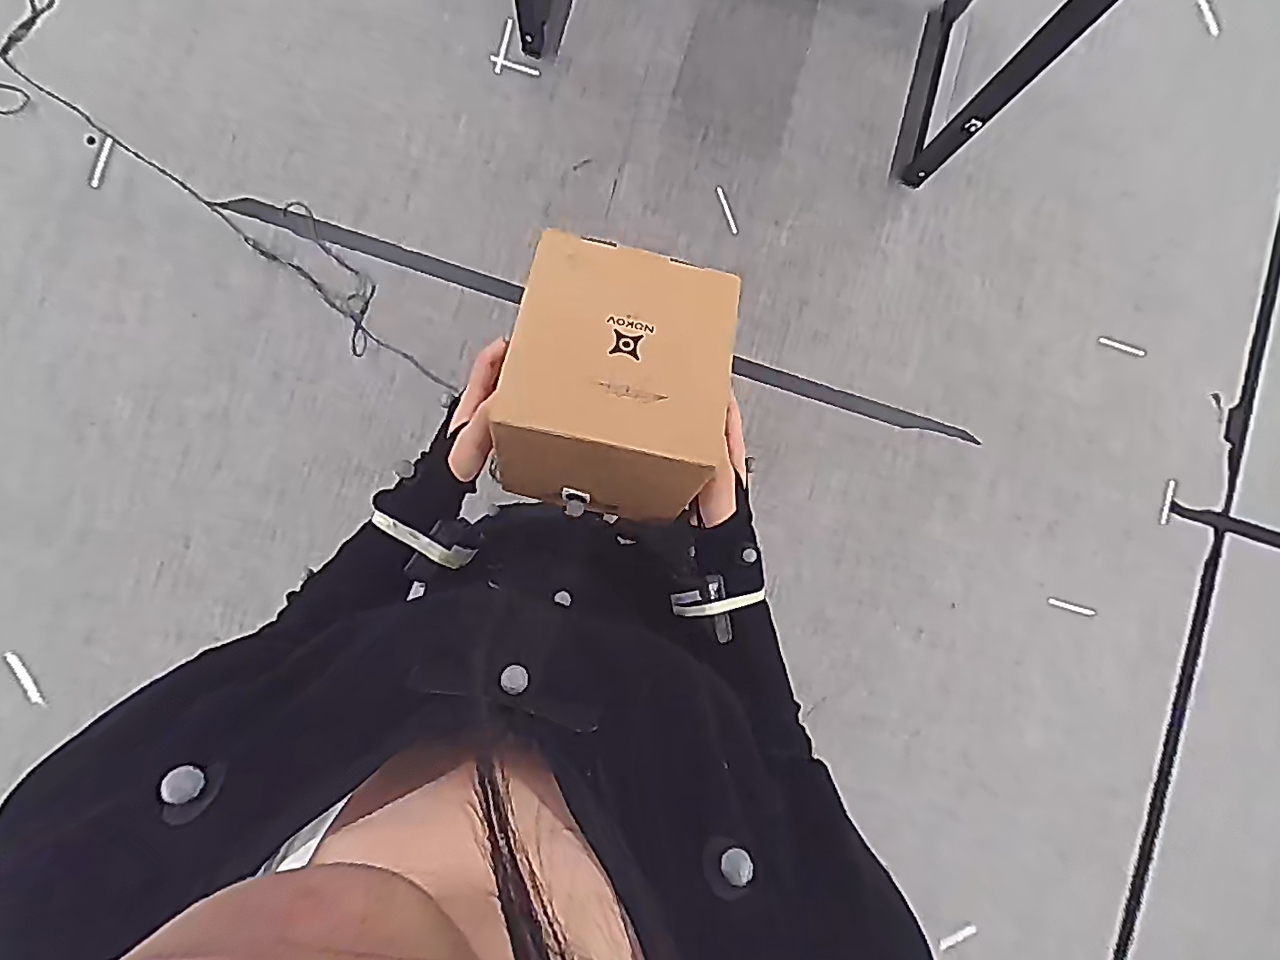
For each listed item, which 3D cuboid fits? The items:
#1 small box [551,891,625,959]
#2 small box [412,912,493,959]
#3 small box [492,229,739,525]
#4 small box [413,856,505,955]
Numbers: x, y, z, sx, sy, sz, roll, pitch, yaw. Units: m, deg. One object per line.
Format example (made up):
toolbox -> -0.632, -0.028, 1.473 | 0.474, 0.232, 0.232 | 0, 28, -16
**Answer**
small box -> -0.138, 1.203, 1.397 | 0.179, 0.176, 0.168 | 4, 89, -7
small box -> -0.434, 1.115, 1.200 | 0.168, 0.176, 0.179 | 15, 89, -5
small box -> -0.024, -0.076, 0.477 | 0.168, 0.176, 0.179 | 12, 69, -6
small box -> -0.451, 1.106, 1.364 | 0.168, 0.176, 0.179 | 19, 87, -6
